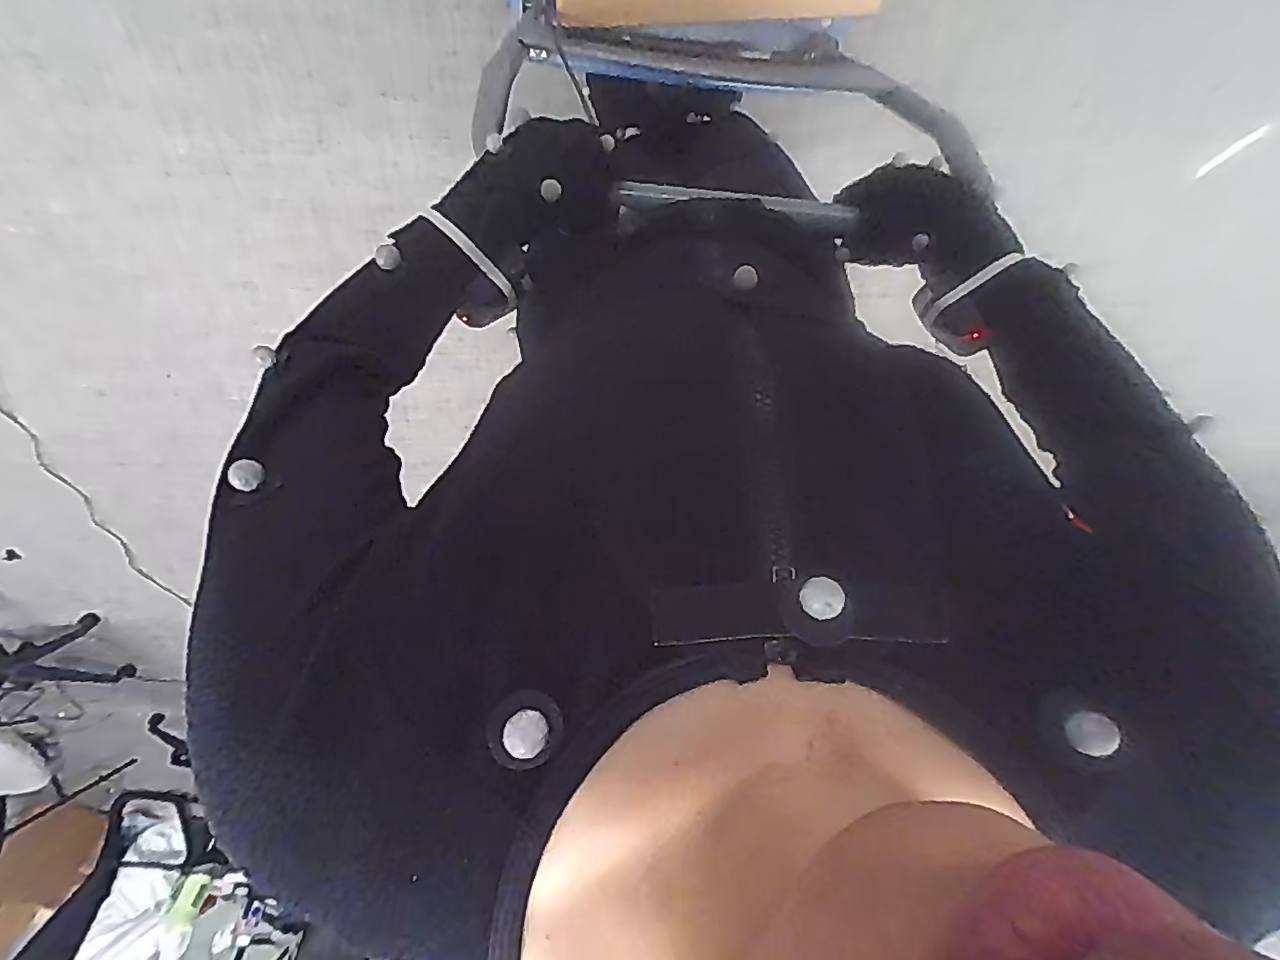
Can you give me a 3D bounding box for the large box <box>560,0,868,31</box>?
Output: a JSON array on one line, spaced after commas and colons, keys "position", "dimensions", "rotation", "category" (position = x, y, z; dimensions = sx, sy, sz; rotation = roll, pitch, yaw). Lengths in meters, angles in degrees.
[{"position": [0.078, -0.804, 0.703], "dimensions": [0.408, 0.320, 0.320], "rotation": [-5, 133, -2], "category": "large box"}]
